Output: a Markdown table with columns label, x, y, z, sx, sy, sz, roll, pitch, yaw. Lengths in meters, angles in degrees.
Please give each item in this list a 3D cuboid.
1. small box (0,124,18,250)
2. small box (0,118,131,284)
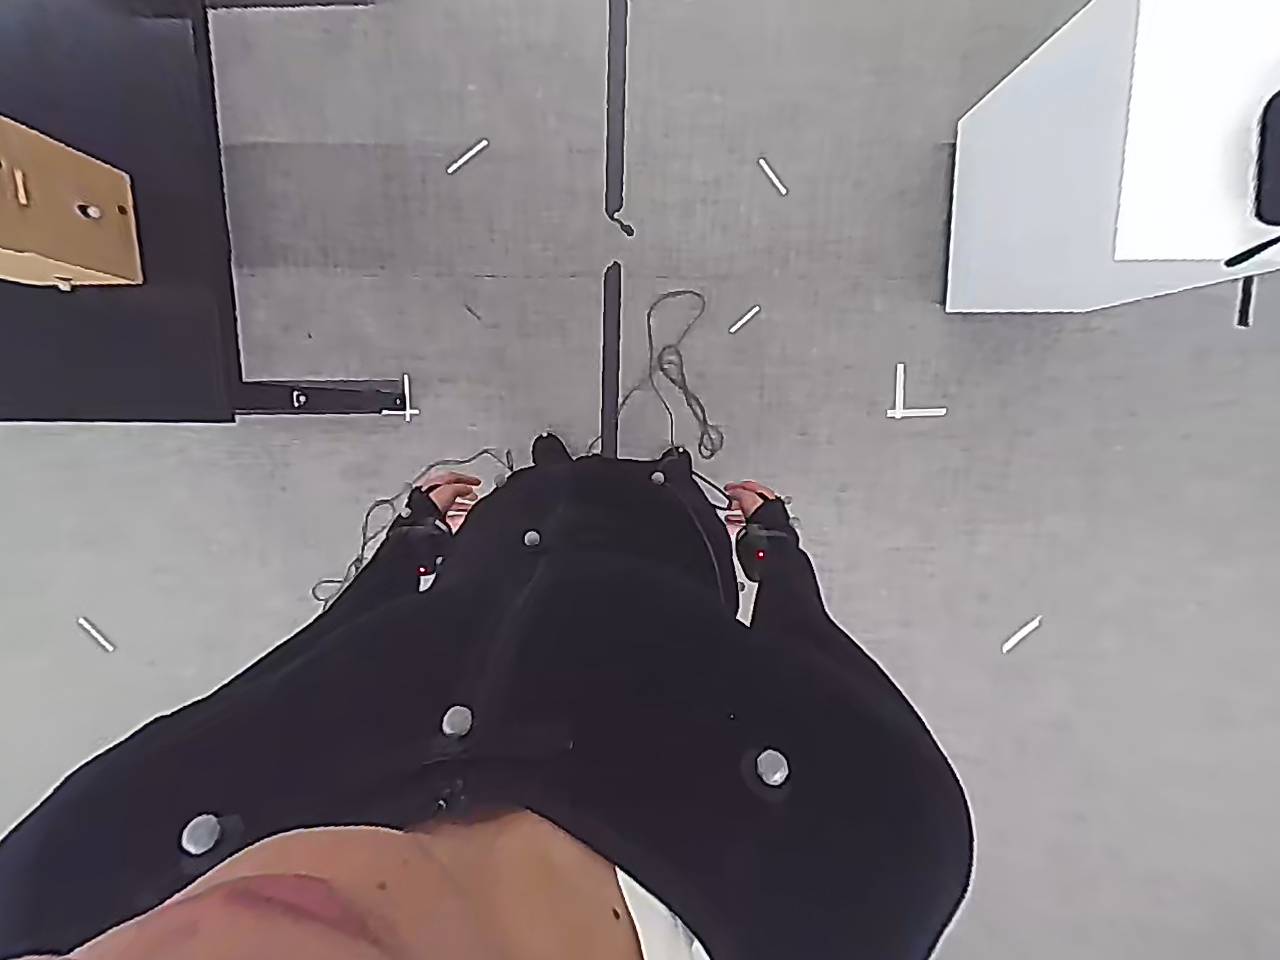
| label | x | y | z | sx | sy | sz | roll | pitch | yaw |
| --- | --- | --- | --- | --- | --- | --- | --- | --- | --- |
| small box | -0.871 | -0.358 | 0.594 | 0.179 | 0.176 | 0.168 | -1 | 98 | 0 |
| small box | -0.869 | -0.379 | 0.758 | 0.179 | 0.176 | 0.168 | -1 | 97 | 0 |
